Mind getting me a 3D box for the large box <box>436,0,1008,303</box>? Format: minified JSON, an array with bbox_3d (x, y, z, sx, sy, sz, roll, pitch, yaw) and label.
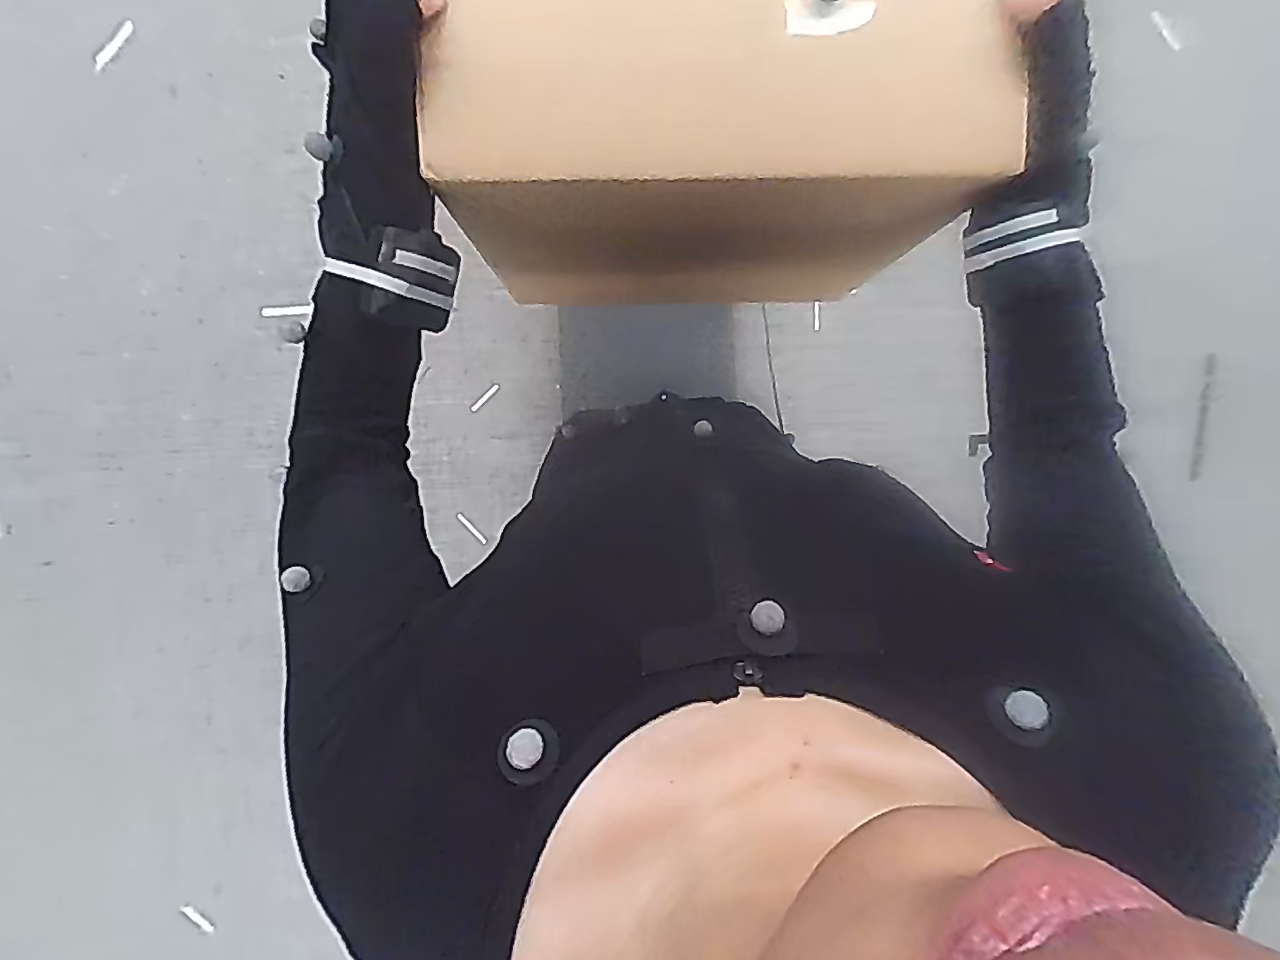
[{"bbox_3d":[0.051,-0.371,0.520,0.408,0.320,0.320,-2,93,-2],"label":"large box"}]
